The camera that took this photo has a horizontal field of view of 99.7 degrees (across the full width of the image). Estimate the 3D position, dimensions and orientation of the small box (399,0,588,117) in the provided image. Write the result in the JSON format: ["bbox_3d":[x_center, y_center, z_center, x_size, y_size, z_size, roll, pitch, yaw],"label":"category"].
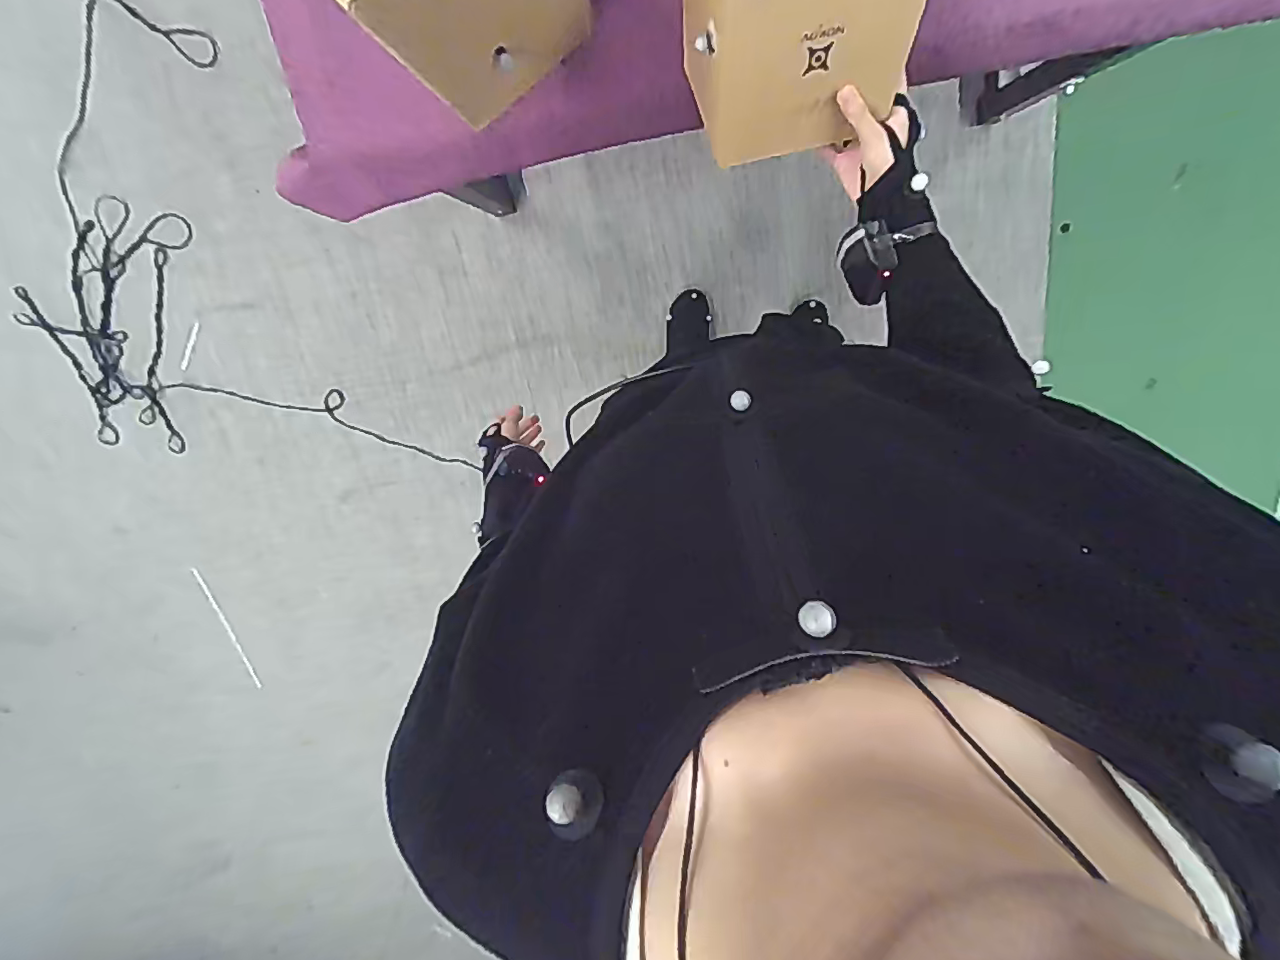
[{"bbox_3d":[-0.168,-0.491,0.510,0.179,0.176,0.168,-33,105,12],"label":"small box"}]

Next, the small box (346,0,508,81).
[{"bbox_3d":[-0.172,-0.423,0.359,0.168,0.176,0.179,42,104,-12],"label":"small box"}]

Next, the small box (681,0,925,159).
[{"bbox_3d":[0.133,-0.433,0.477,0.168,0.179,0.176,-12,68,0],"label":"small box"}]
